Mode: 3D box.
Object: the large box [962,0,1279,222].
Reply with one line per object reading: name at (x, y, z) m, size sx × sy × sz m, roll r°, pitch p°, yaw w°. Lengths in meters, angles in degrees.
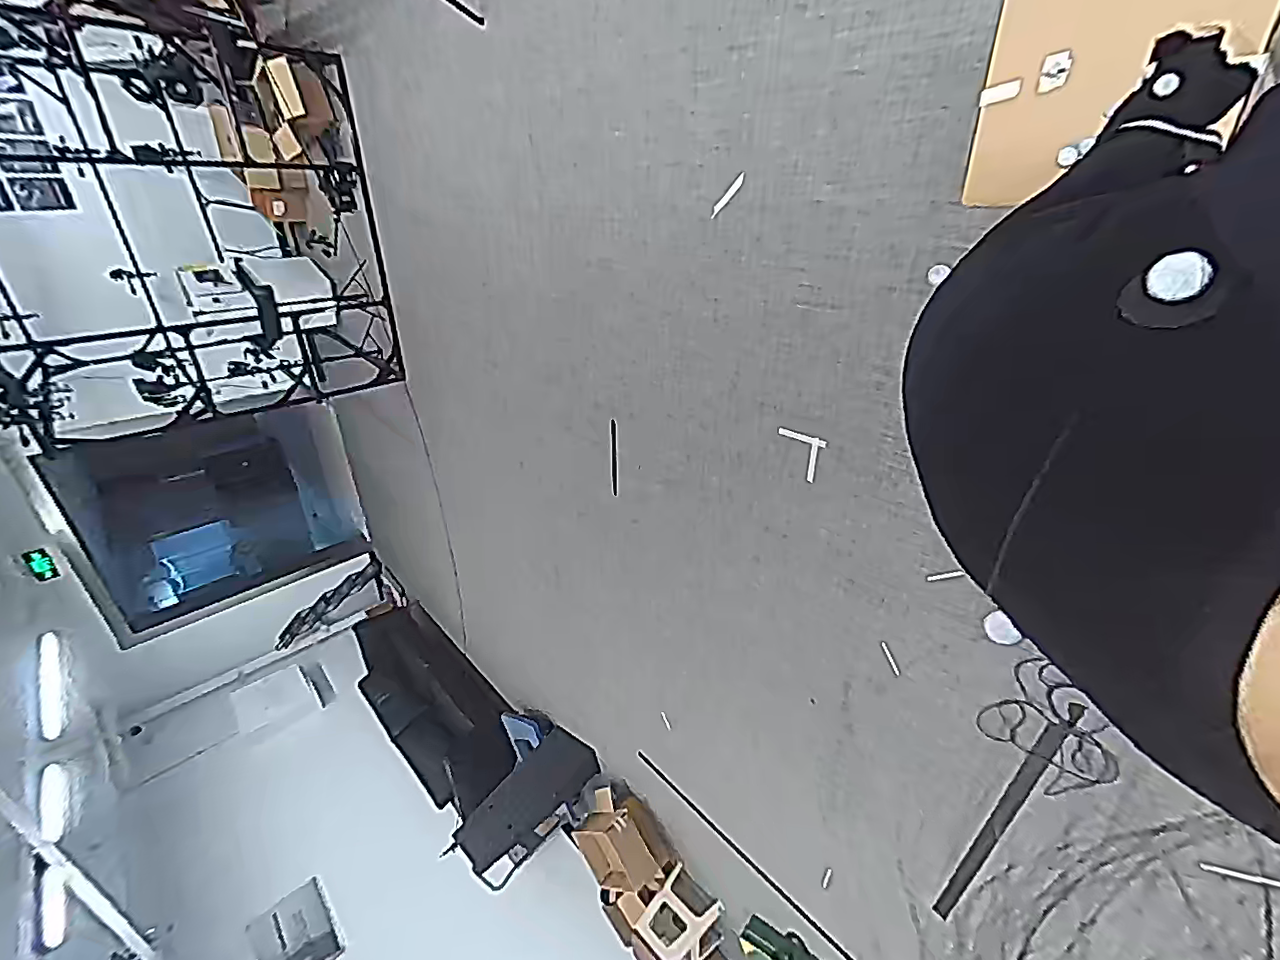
large box at (0.791, -0.614, 0.894) m, size 0.320 × 0.408 × 0.320 m, roll 24°, pitch 128°, yaw 39°
